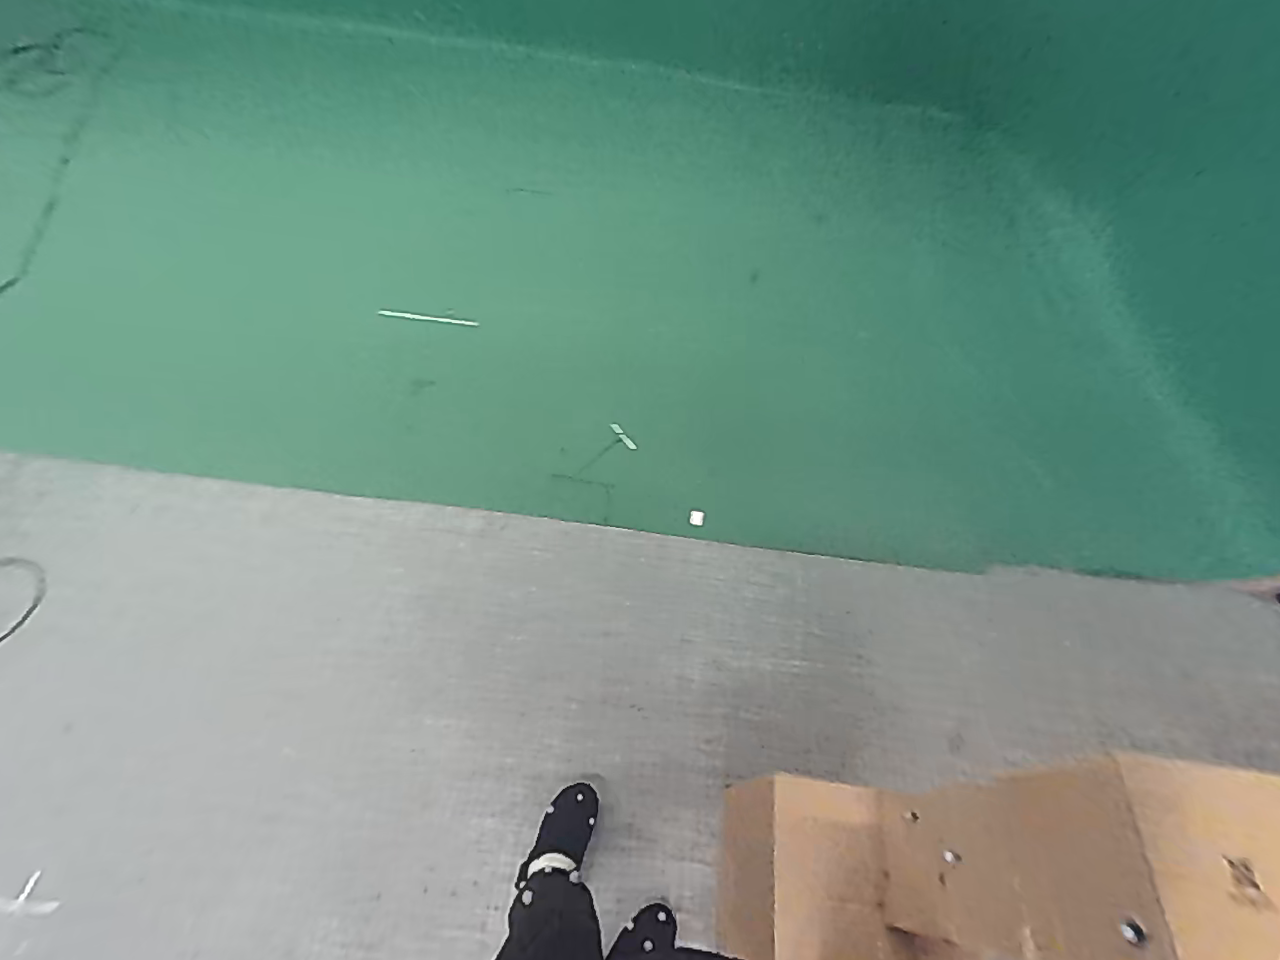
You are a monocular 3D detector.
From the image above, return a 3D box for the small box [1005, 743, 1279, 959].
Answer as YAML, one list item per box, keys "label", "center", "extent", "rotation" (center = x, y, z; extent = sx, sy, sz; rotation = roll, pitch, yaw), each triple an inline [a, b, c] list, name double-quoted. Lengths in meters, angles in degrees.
- label: "small box"
  center: [0.490, 0.367, 0.513]
  extent: [0.168, 0.176, 0.179]
  rotation: [8, 56, 1]
